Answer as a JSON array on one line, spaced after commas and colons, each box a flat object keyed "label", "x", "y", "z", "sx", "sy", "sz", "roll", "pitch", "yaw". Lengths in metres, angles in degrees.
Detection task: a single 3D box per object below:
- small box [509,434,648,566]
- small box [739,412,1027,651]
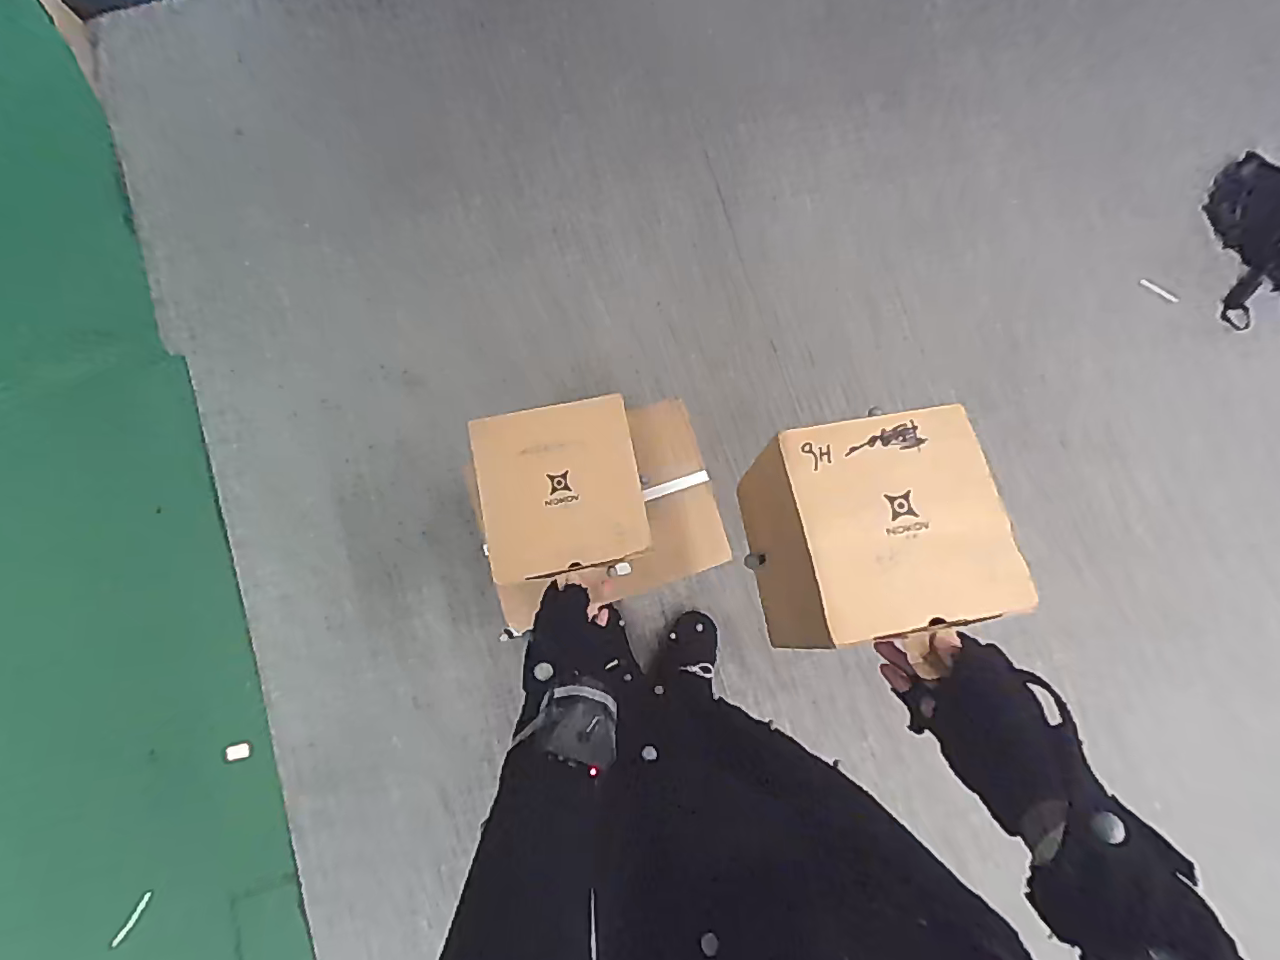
[{"label": "small box", "x": -0.093, "y": 0.031, "z": 0.850, "sx": 0.179, "sy": 0.176, "sz": 0.168, "roll": -11, "pitch": 87, "yaw": -3}, {"label": "small box", "x": 0.204, "y": 0.057, "z": 0.512, "sx": 0.168, "sy": 0.176, "sz": 0.179, "roll": -9, "pitch": 74, "yaw": -5}]
